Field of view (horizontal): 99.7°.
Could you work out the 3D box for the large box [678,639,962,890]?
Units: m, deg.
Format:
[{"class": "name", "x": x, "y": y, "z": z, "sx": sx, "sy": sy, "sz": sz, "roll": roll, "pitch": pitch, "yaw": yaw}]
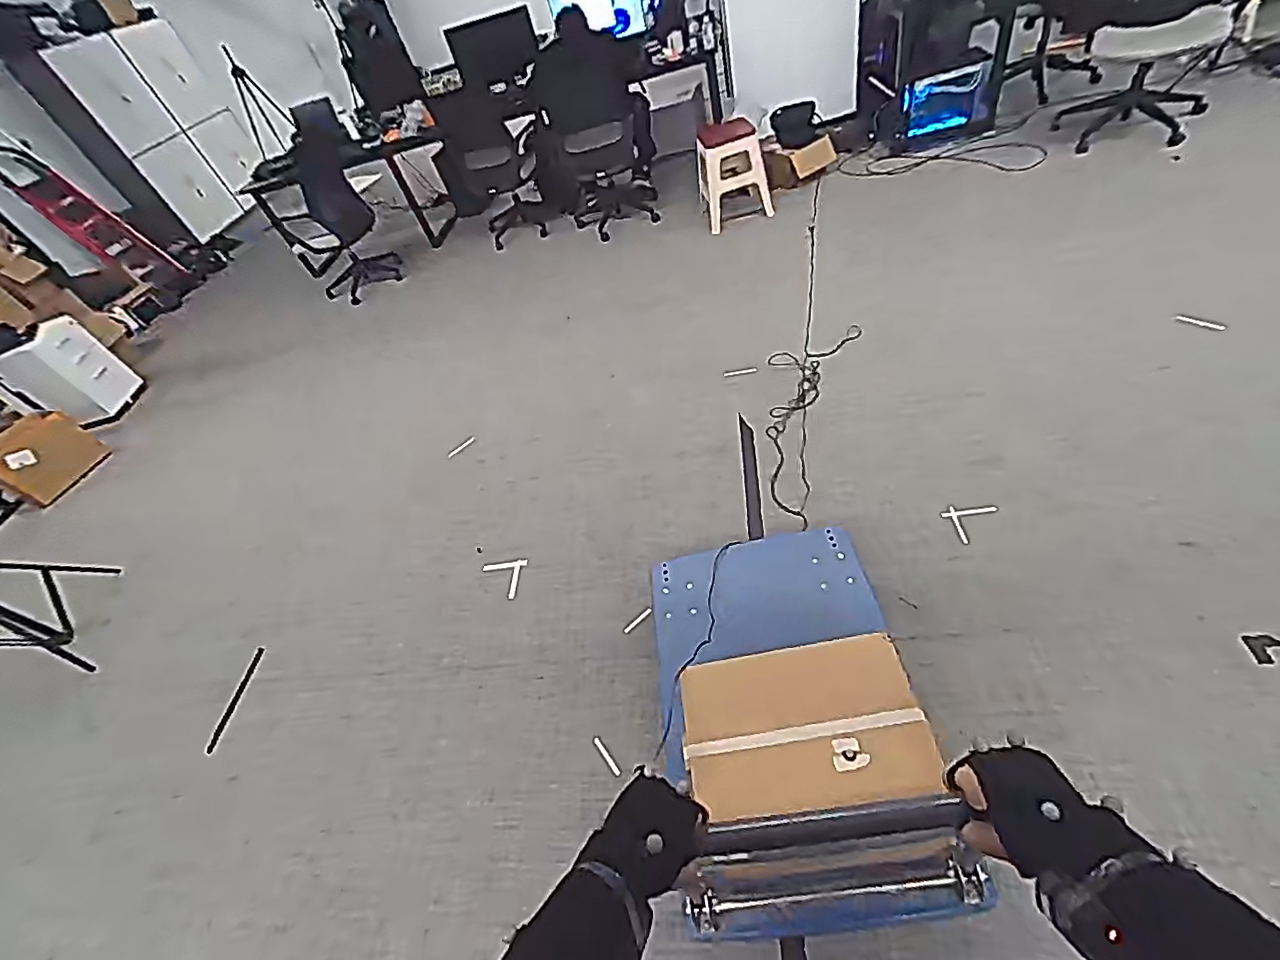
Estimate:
[{"class": "large box", "x": 0.312, "y": 0.548, "z": 1.030, "sx": 0.408, "sy": 0.320, "sz": 0.320, "roll": -13, "pitch": 46, "yaw": 7}]
